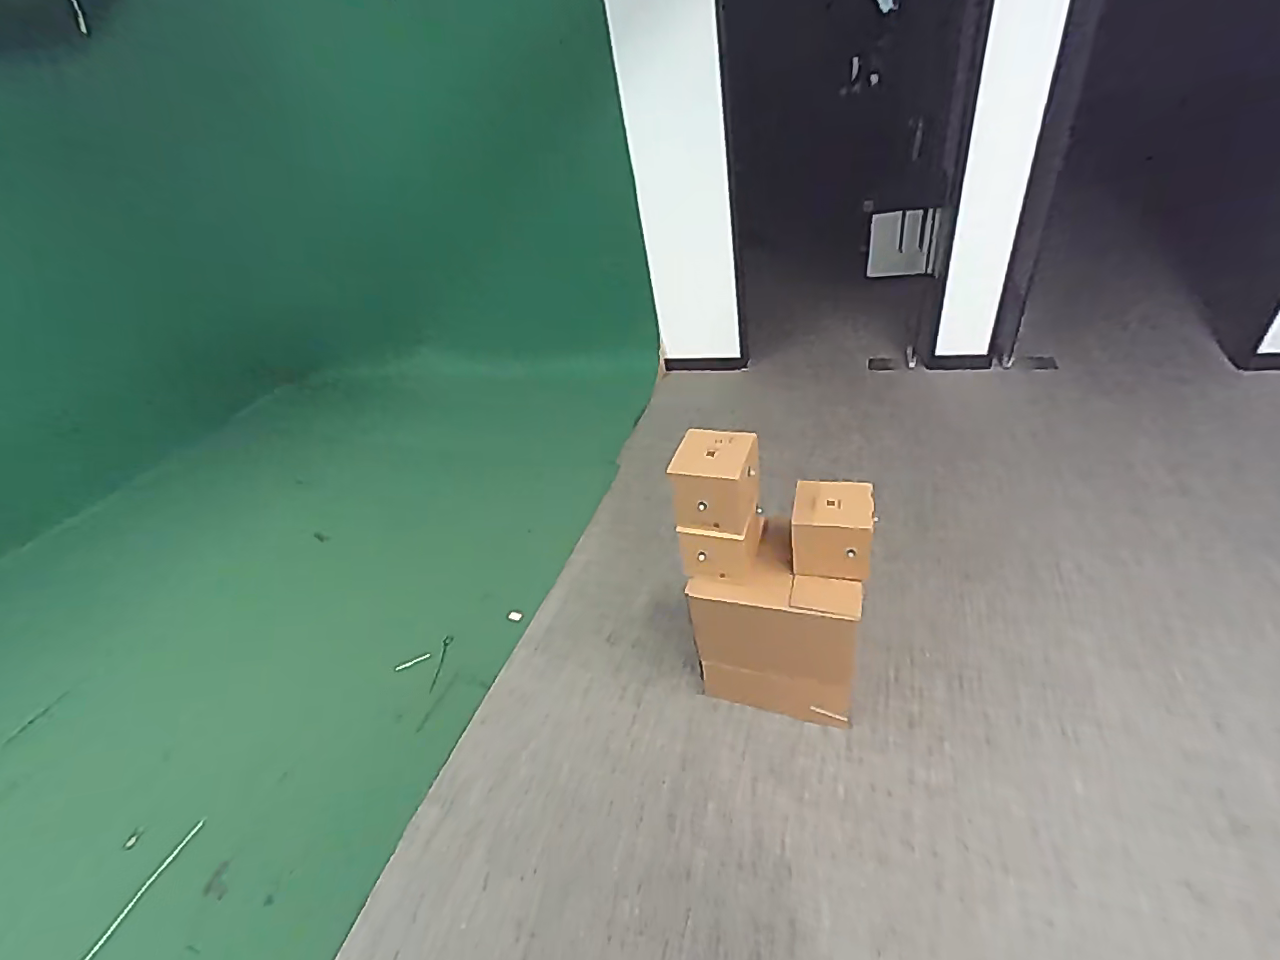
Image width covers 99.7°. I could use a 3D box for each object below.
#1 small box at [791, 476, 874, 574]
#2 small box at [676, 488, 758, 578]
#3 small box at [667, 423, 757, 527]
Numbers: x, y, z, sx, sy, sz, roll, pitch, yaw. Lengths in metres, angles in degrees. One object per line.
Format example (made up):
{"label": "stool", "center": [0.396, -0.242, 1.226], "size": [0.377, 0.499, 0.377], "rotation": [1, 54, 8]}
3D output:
{"label": "small box", "center": [0.465, 0.109, 1.307], "size": [0.179, 0.176, 0.168], "rotation": [3, 39, 22]}
{"label": "small box", "center": [0.201, 0.123, 1.363], "size": [0.168, 0.176, 0.179], "rotation": [7, 42, 21]}
{"label": "small box", "center": [0.178, -0.011, 1.270], "size": [0.168, 0.176, 0.179], "rotation": [8, 43, 22]}
